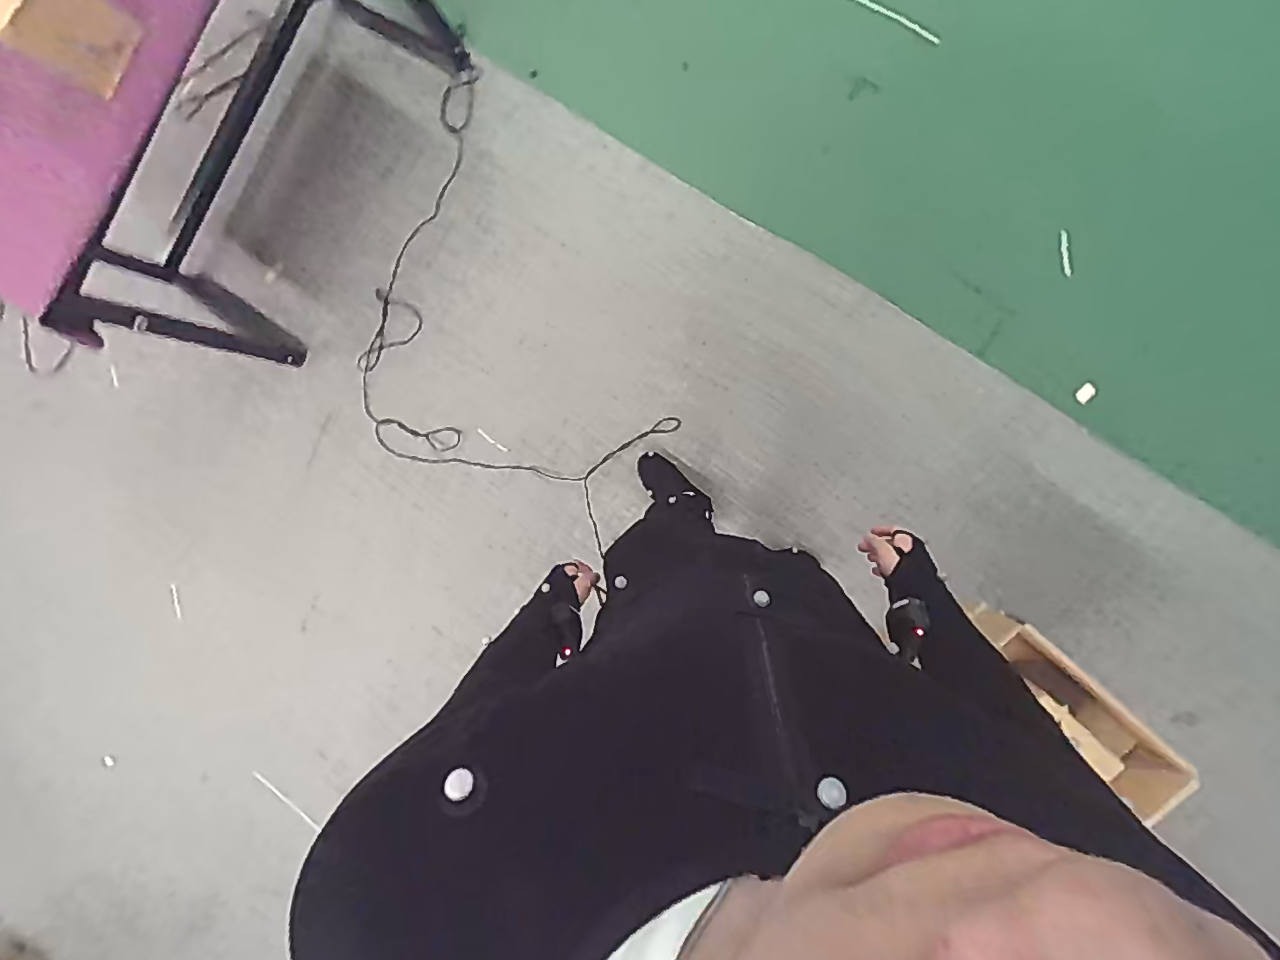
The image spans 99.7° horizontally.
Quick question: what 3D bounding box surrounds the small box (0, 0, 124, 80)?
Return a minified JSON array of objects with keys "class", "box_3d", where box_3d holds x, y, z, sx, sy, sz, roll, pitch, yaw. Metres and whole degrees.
[{"class":"small box","box_3d":[-1.139,-0.903,1.006,0.179,0.176,0.168,37,98,7]}]
